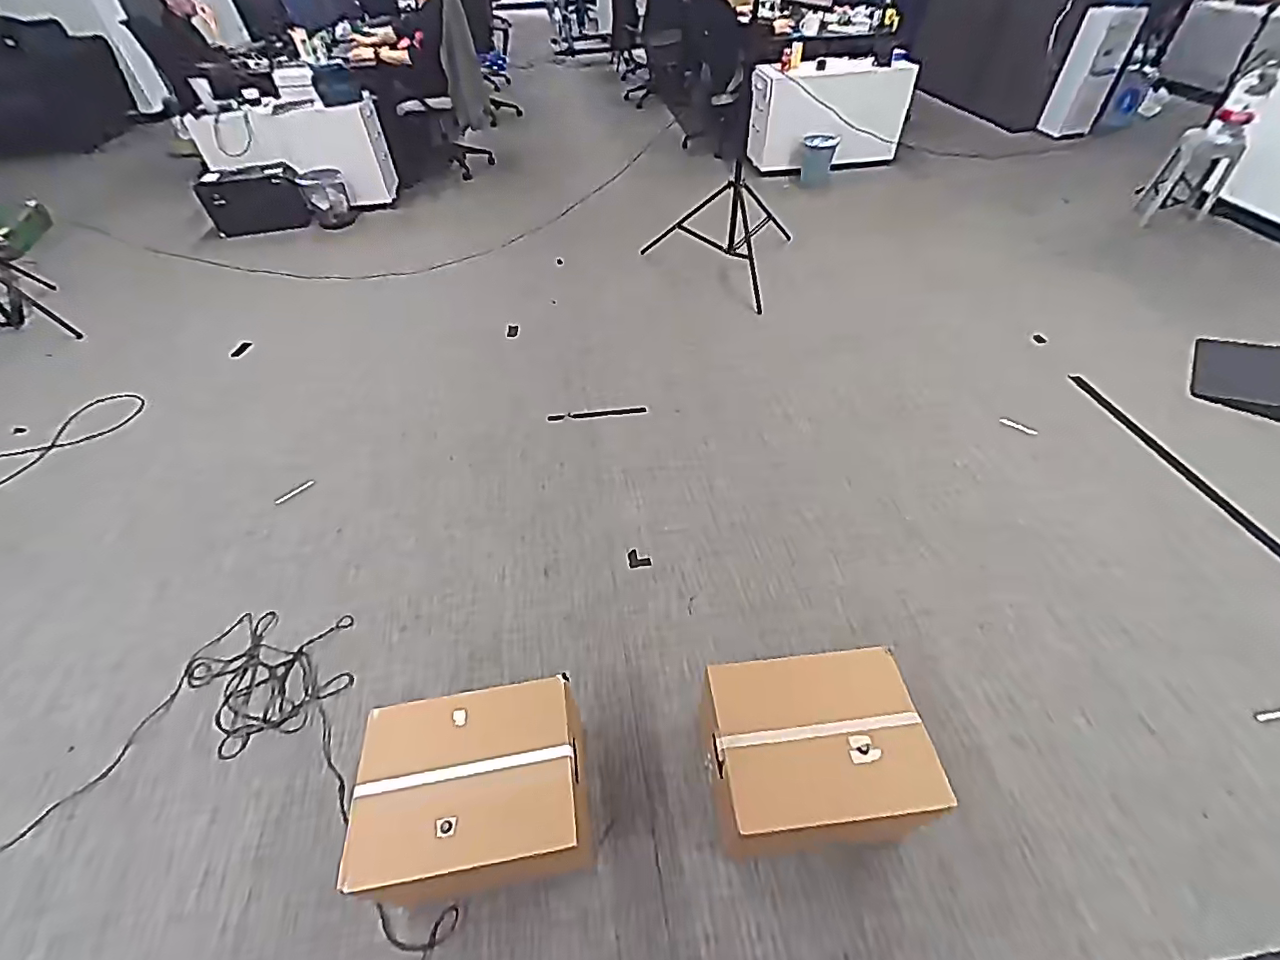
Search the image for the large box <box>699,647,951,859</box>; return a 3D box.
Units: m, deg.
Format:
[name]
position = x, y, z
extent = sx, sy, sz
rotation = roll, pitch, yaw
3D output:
[large box]
position = 0.362, 0.599, 1.186
extent = 0.408, 0.320, 0.320
rotation = -5, 47, -3
